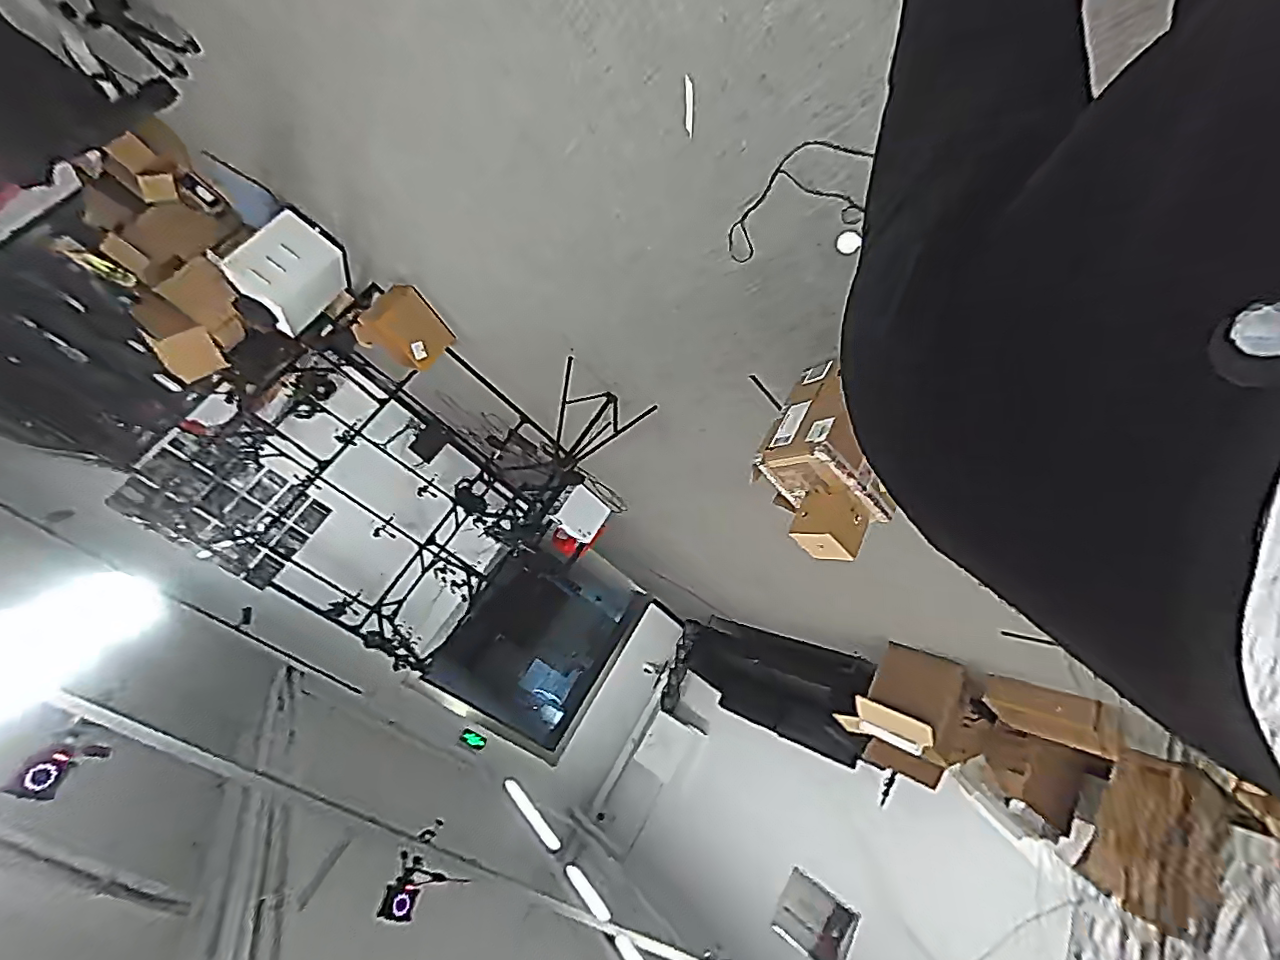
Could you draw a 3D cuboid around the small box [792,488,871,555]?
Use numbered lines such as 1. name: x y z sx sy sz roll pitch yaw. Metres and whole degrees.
1. small box: 0.672 0.145 1.889 0.168 0.176 0.179 40 155 -24
